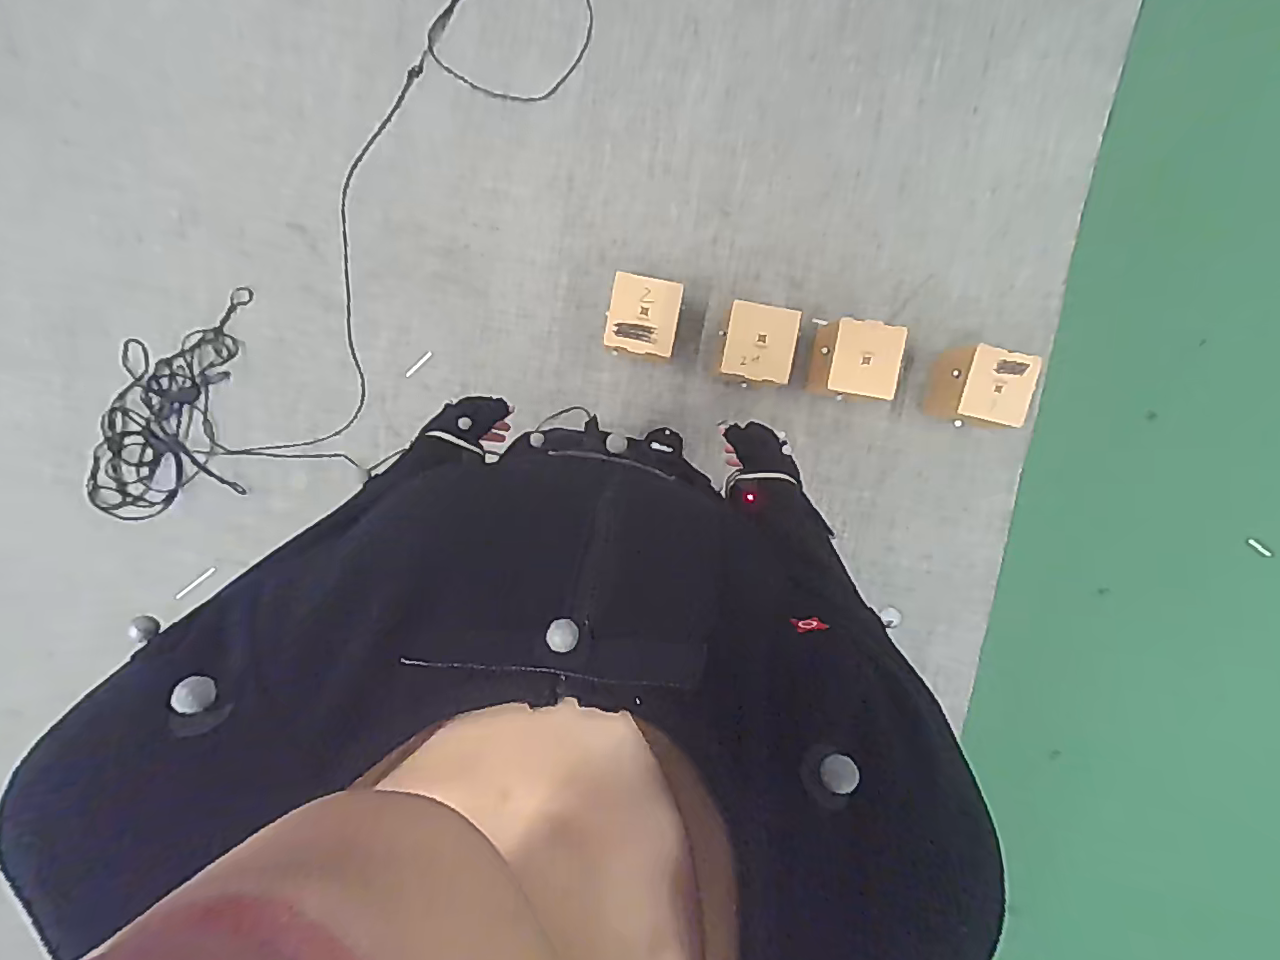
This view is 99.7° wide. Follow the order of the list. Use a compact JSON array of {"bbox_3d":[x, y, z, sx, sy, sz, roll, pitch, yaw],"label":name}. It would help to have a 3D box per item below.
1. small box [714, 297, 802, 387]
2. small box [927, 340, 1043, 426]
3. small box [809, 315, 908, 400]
[{"bbox_3d":[0.288,-0.338,1.355,0.168,0.176,0.179,10,96,0],"label":"small box"},{"bbox_3d":[0.861,-0.240,1.368,0.168,0.176,0.179,13,97,-1],"label":"small box"},{"bbox_3d":[0.540,-0.300,1.362,0.168,0.176,0.179,9,95,-1],"label":"small box"}]
